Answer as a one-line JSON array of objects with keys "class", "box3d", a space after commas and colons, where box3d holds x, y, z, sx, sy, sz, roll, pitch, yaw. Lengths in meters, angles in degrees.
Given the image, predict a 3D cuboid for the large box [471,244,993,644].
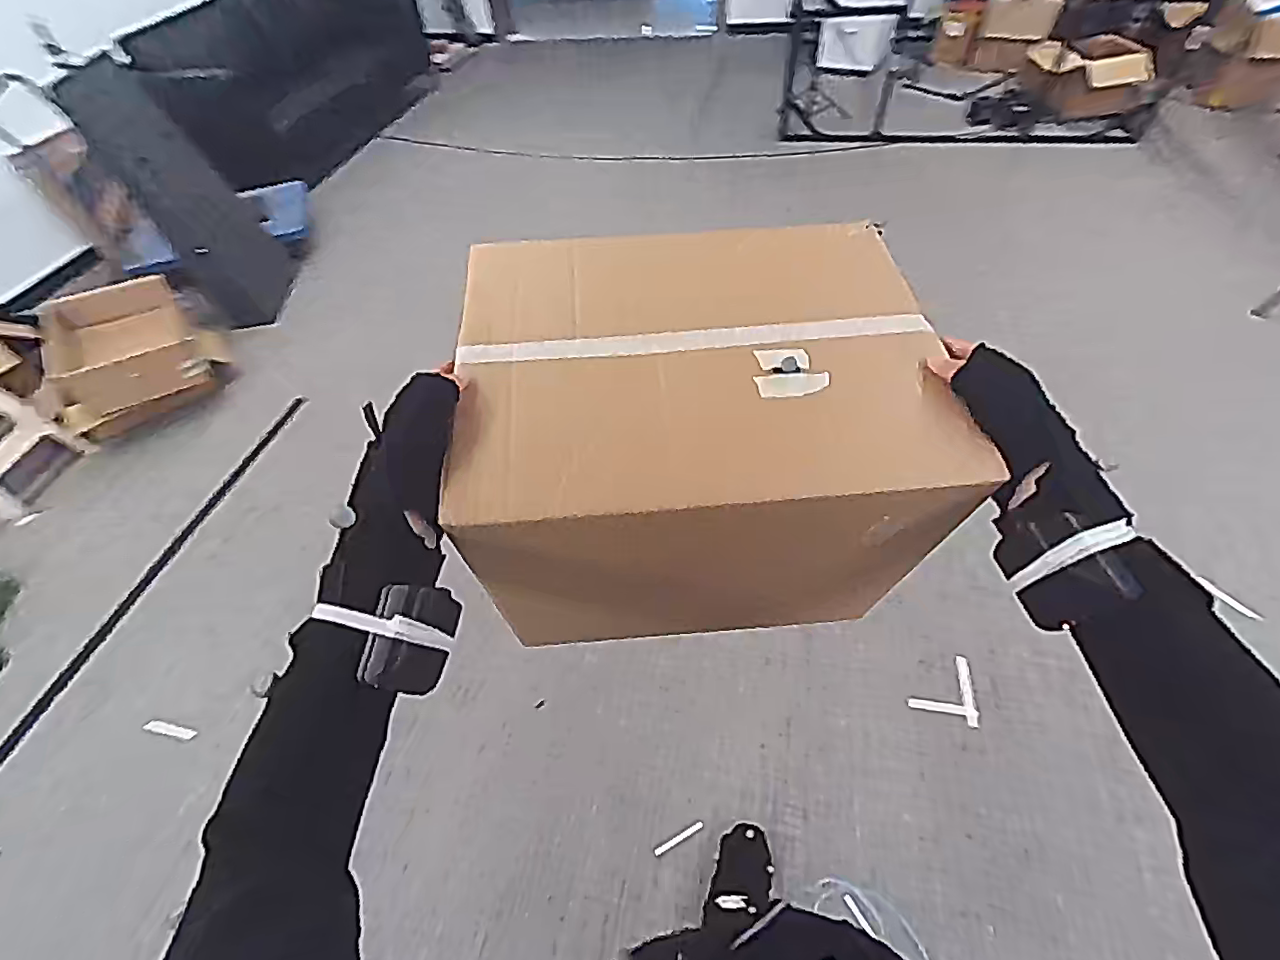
[{"class": "large box", "box3d": [0.059, -0.026, 0.604, 0.408, 0.320, 0.320, -4, 58, -2]}]
